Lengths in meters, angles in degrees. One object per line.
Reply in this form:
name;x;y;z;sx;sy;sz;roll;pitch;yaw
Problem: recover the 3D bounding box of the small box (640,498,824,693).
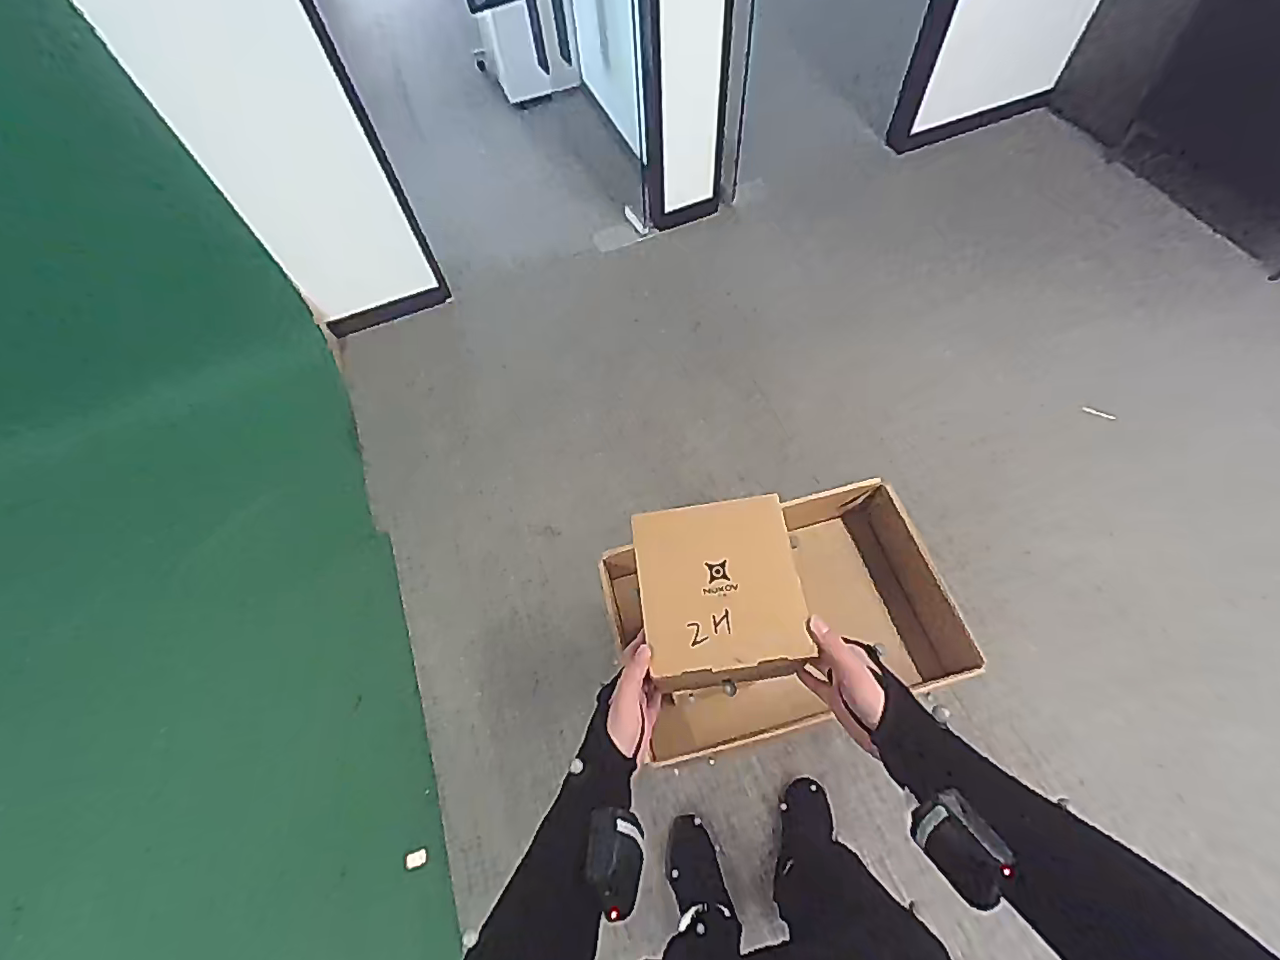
small box;0.093;0.140;0.625;0.168;0.176;0.179;-8;65;2
